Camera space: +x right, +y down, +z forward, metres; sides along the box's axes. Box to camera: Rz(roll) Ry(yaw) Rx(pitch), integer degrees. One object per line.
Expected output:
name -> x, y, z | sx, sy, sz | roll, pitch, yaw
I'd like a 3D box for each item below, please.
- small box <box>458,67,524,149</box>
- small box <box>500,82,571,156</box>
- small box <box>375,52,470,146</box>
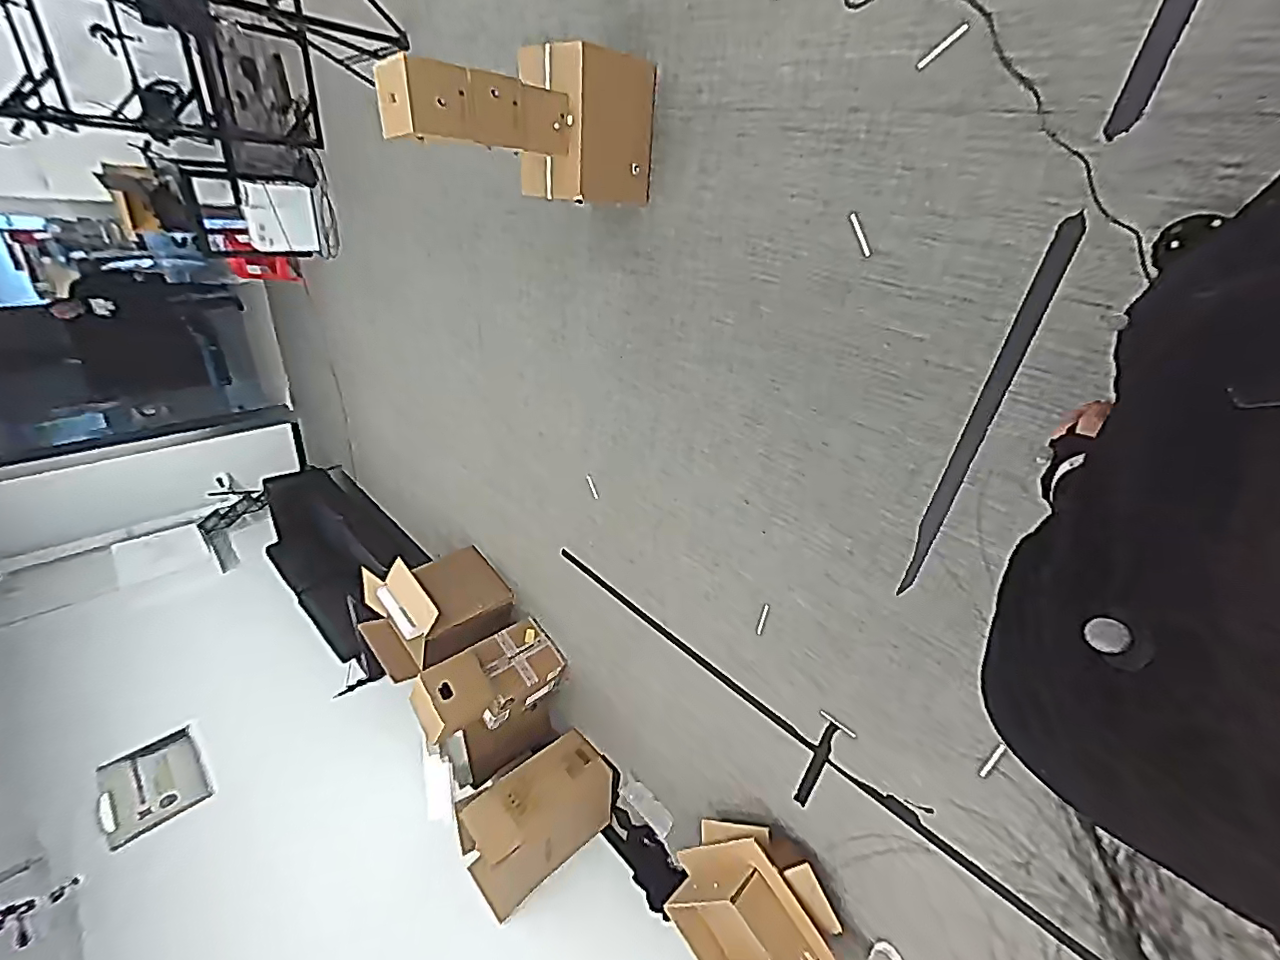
small box -> -0.437, -1.029, 1.506 | 0.179, 0.176, 0.168 | 27, 124, 38
small box -> -0.328, -1.074, 1.618 | 0.179, 0.176, 0.168 | 27, 126, 36
small box -> -0.555, -0.978, 1.402 | 0.179, 0.176, 0.168 | 22, 121, 39
